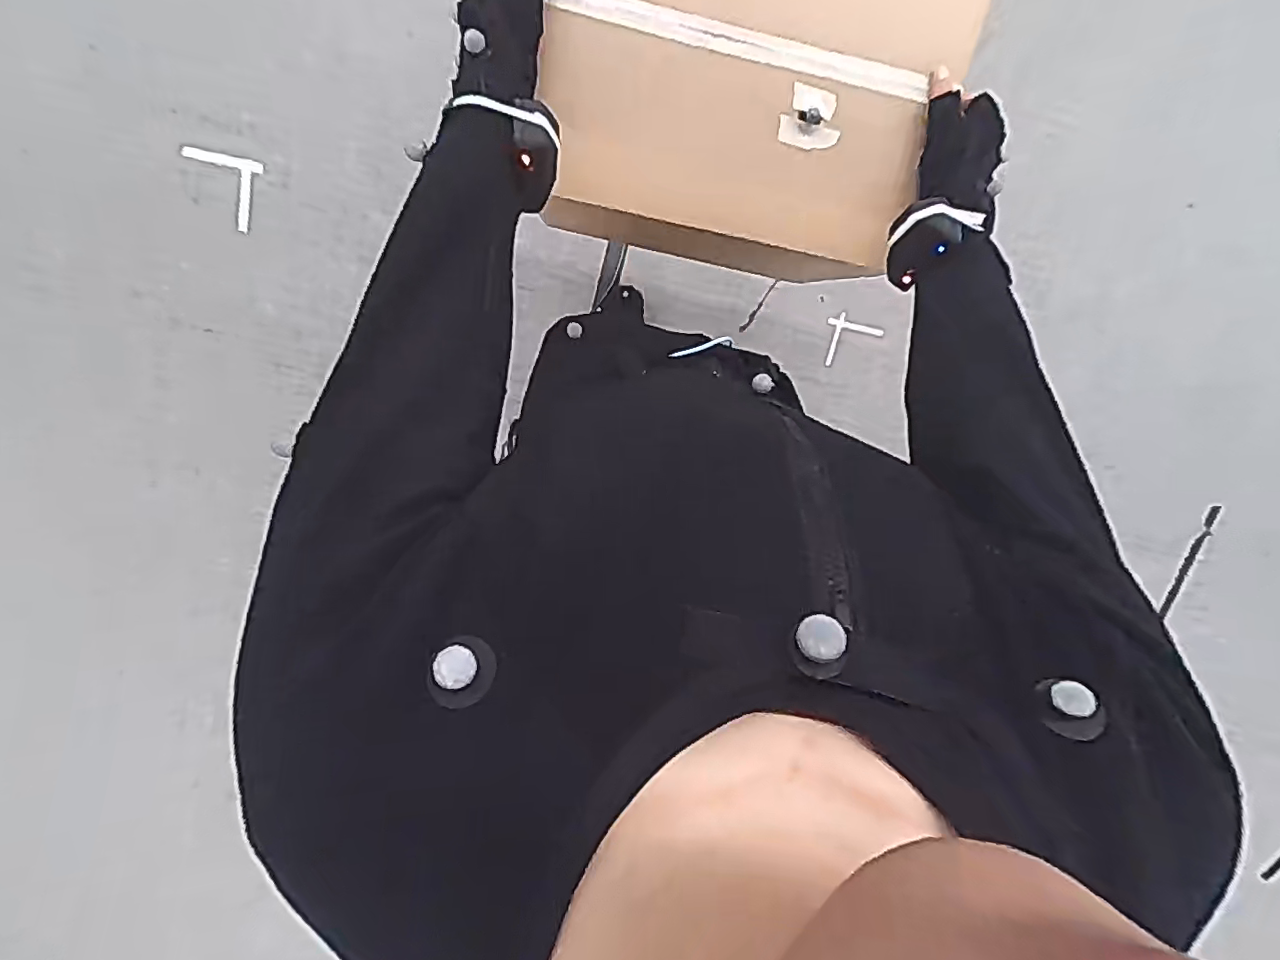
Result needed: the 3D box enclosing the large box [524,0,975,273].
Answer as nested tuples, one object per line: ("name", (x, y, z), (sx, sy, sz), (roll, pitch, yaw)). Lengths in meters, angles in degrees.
("large box", (0.094, -0.452, 0.648), (0.408, 0.320, 0.320), (9, 108, -7))
